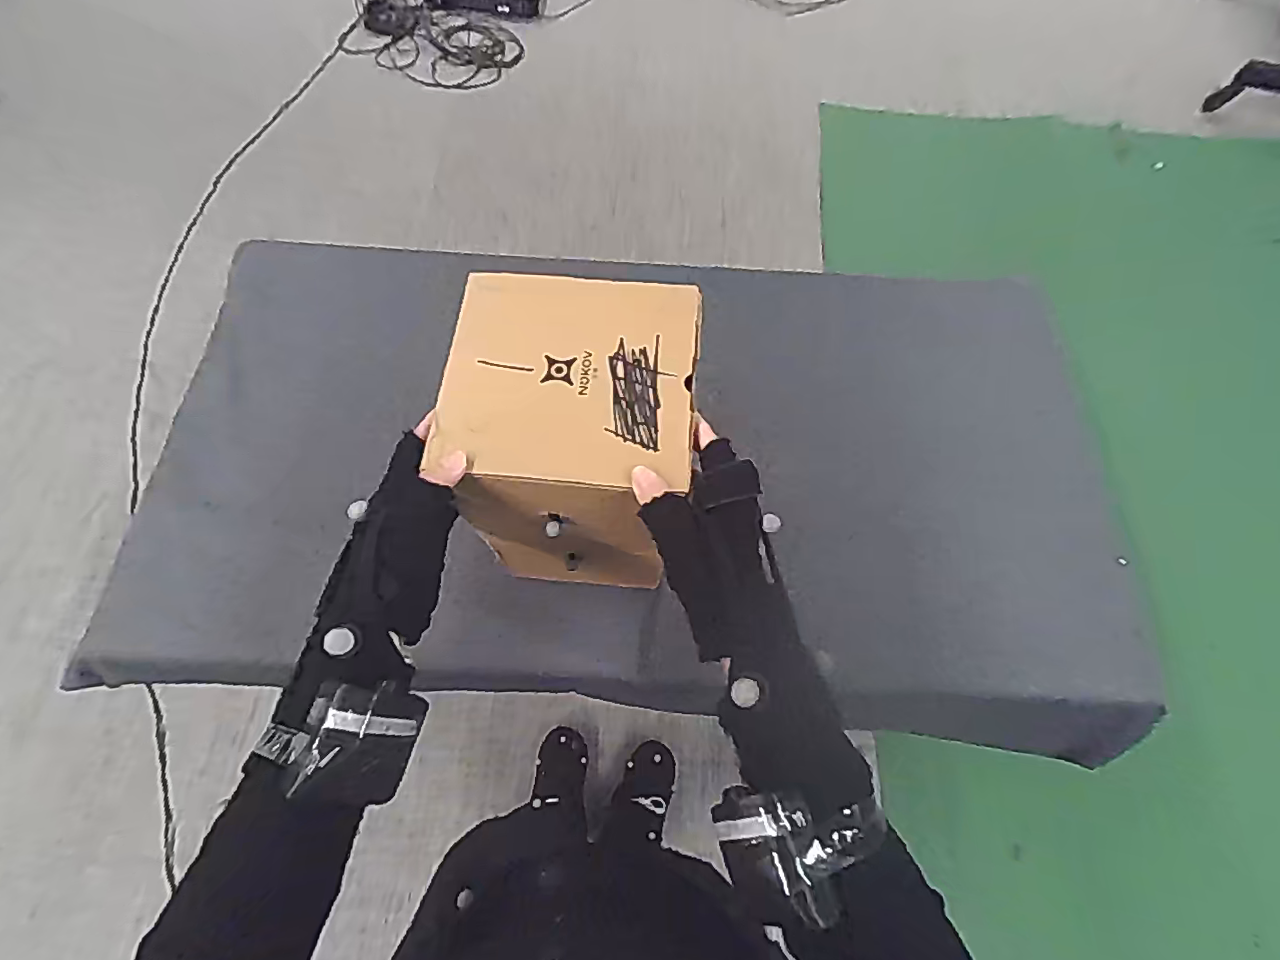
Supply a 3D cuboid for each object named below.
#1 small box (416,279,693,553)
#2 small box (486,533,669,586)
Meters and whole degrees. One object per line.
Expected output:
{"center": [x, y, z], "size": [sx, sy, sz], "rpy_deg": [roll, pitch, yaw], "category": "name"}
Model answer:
{"center": [-0.053, -0.040, 0.451], "size": [0.179, 0.176, 0.168], "rpy_deg": [4, 68, 2], "category": "small box"}
{"center": [-0.057, 0.019, 0.604], "size": [0.179, 0.176, 0.168], "rpy_deg": [4, 68, 0], "category": "small box"}
